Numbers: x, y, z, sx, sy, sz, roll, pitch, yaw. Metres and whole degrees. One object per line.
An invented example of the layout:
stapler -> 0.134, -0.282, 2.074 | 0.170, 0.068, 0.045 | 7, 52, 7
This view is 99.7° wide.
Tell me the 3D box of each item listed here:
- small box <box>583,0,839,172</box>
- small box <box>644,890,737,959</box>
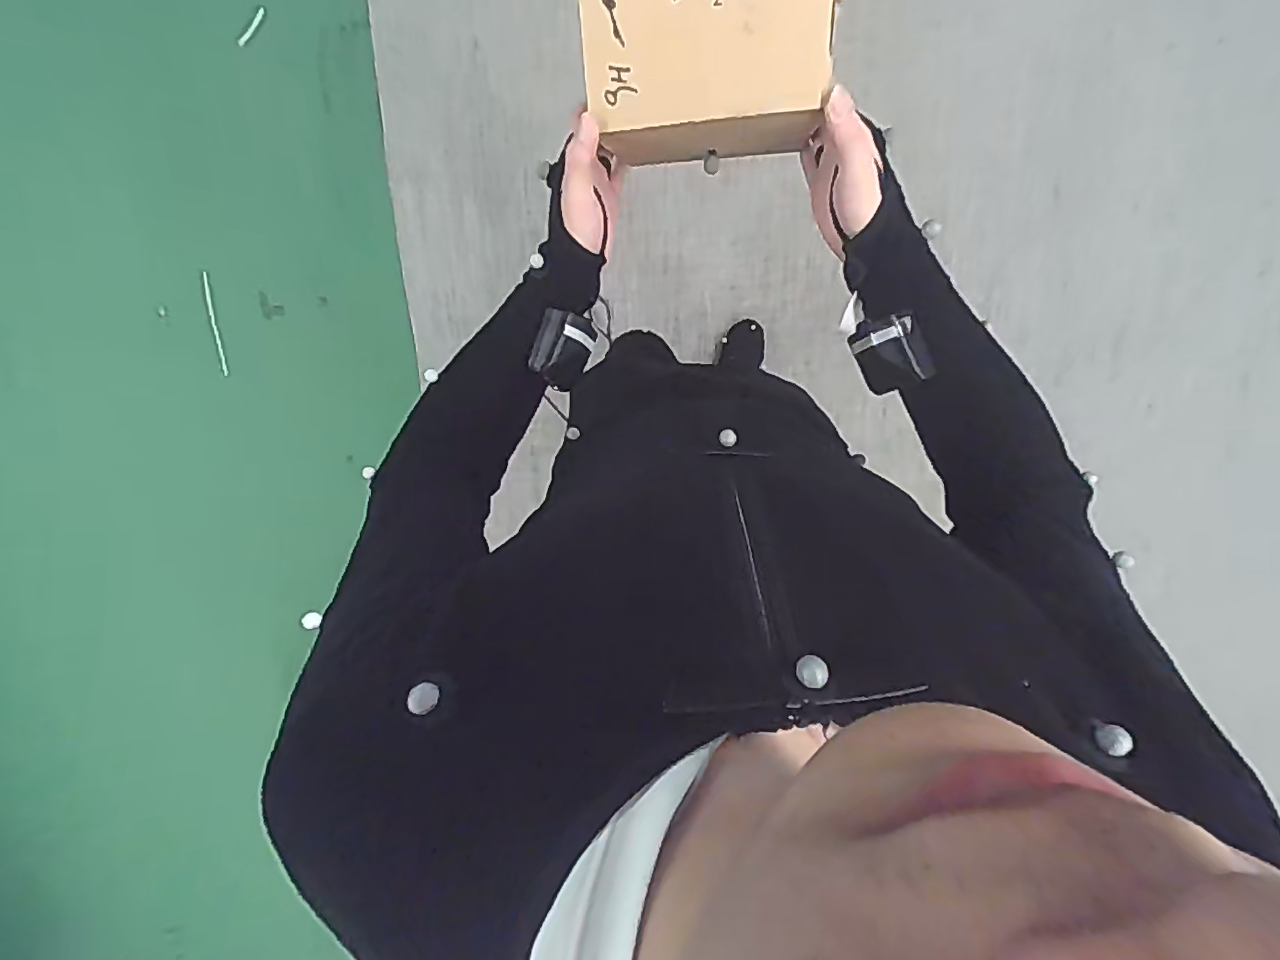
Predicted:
small box -> 0.056, -0.361, 0.439 | 0.179, 0.176, 0.168 | 0, 110, 9
small box -> 0.105, 0.969, 1.089 | 0.179, 0.176, 0.168 | -2, 105, 7
